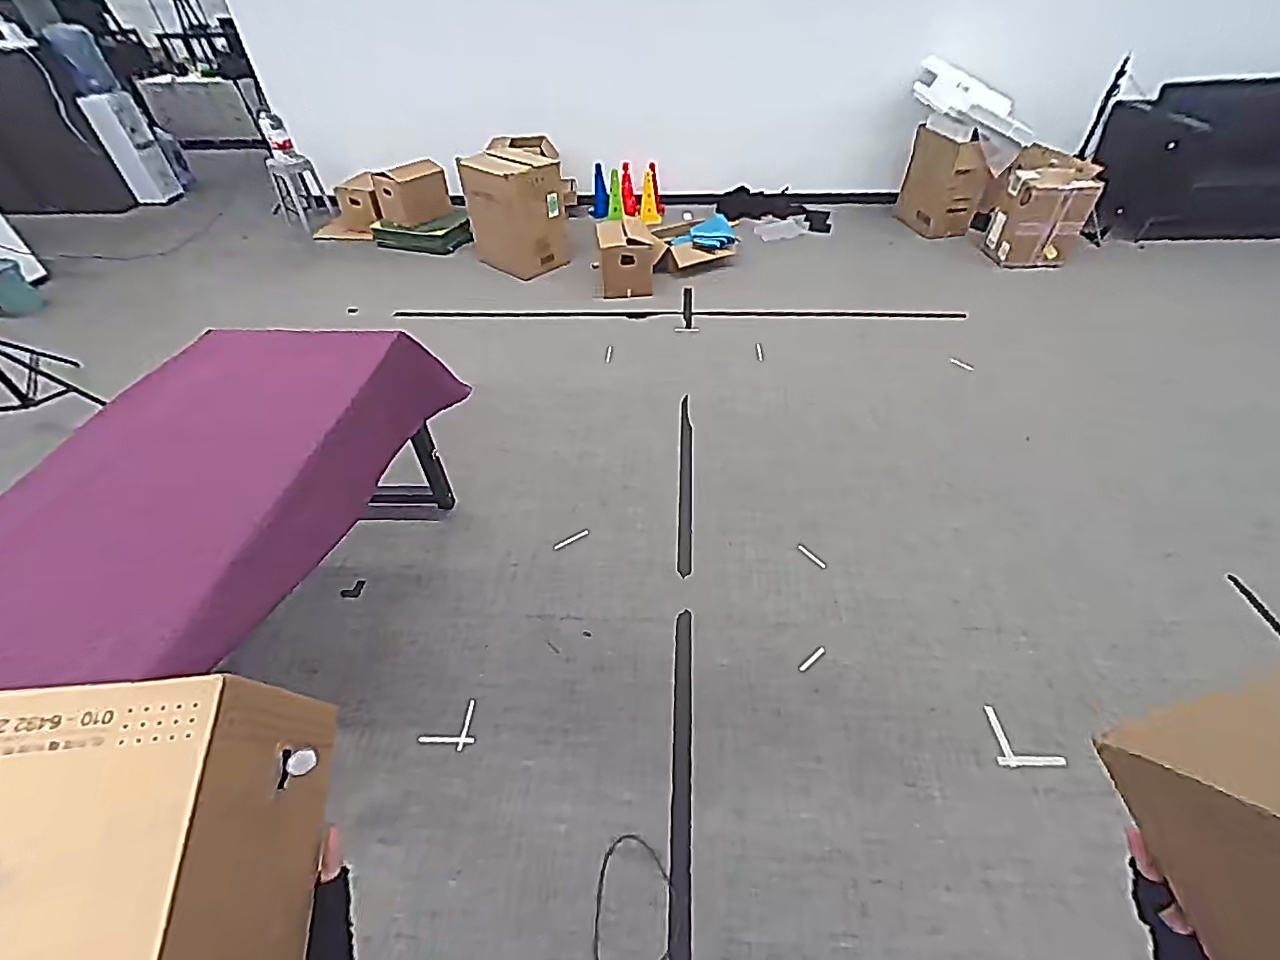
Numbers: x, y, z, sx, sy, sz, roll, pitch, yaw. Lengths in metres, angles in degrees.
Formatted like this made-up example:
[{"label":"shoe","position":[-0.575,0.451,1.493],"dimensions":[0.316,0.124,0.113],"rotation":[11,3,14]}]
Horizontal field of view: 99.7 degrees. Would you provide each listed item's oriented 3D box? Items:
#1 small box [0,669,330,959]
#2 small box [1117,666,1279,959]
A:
[{"label":"small box","position":[-0.279,0.194,0.271],"dimensions":[0.168,0.179,0.176],"rotation":[-1,63,-11]},{"label":"small box","position":[0.386,0.189,0.249],"dimensions":[0.168,0.179,0.176],"rotation":[-22,75,9]}]
